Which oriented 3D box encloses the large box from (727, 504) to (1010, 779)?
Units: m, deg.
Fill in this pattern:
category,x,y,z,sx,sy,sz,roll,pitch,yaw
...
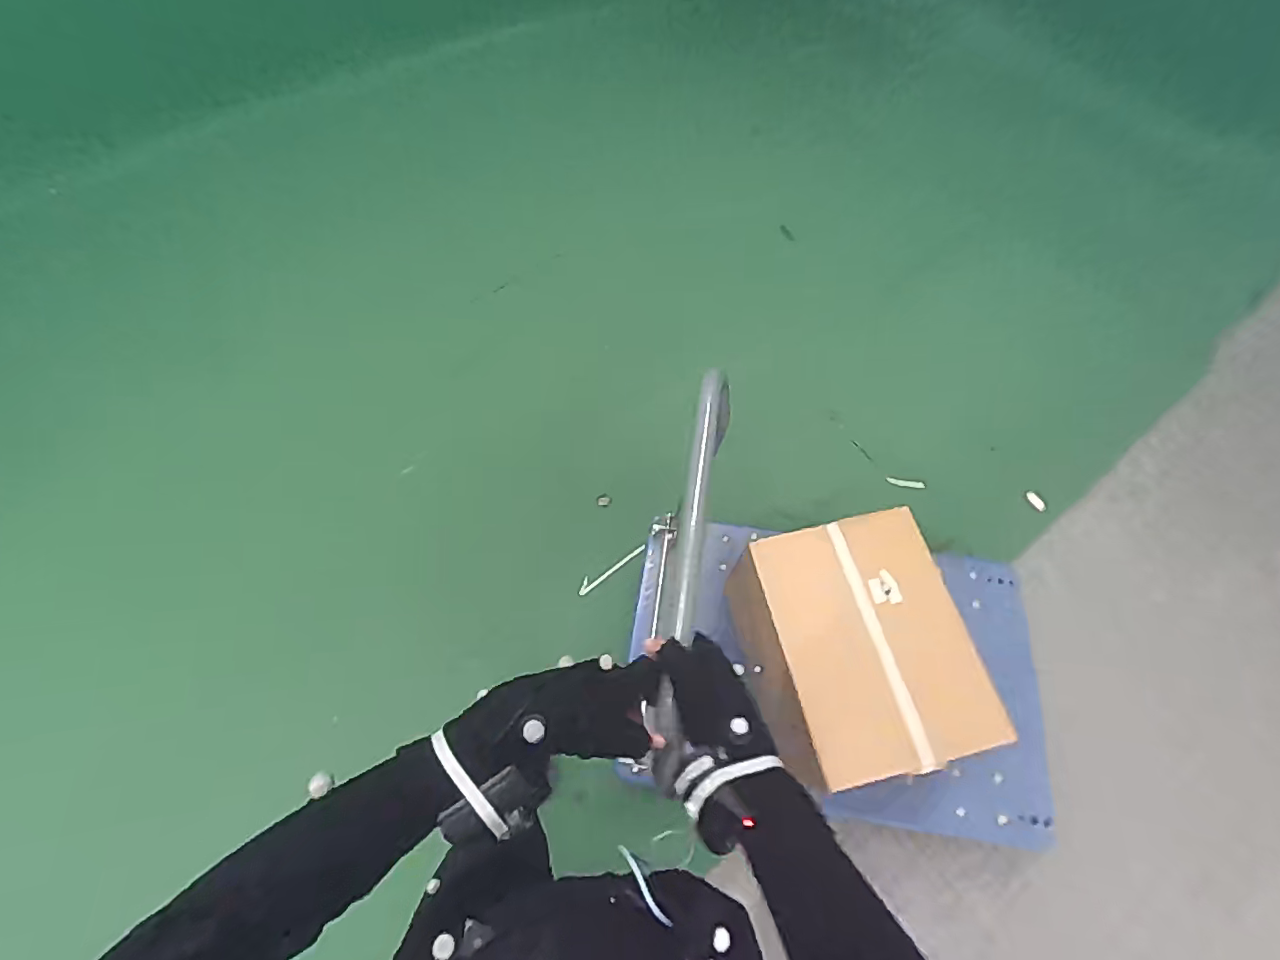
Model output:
category,x,y,z,sx,sy,sz,roll,pitch,yaw
large box,0.389,0.314,1.048,0.320,0.320,0.408,-12,64,-6
